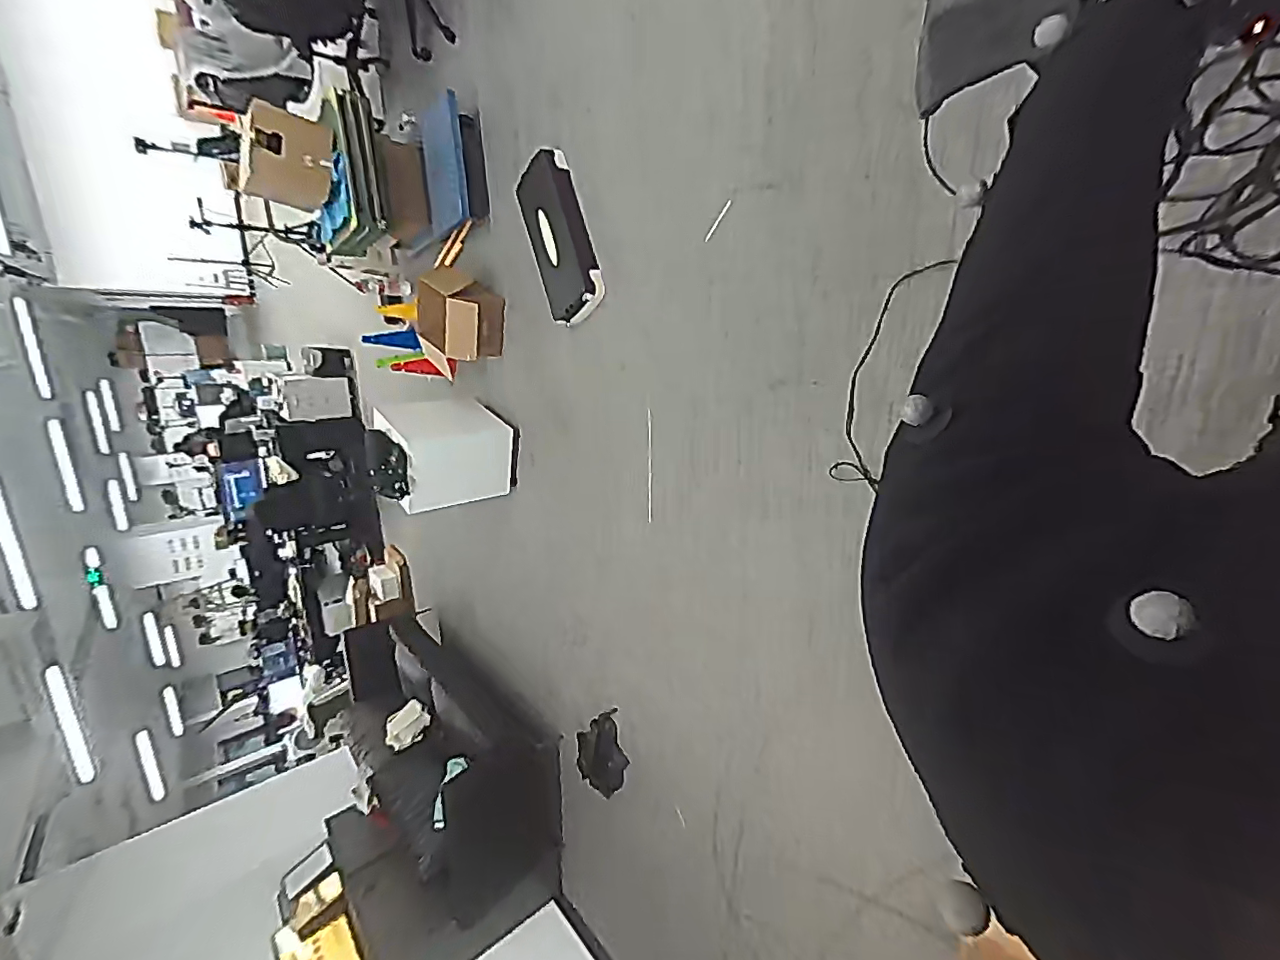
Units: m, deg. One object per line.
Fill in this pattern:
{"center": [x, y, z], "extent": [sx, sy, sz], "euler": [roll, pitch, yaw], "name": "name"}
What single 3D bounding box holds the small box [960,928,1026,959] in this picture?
{"center": [0.887, 1.277, 1.334], "extent": [0.179, 0.176, 0.168], "euler": [17, 113, 48], "name": "small box"}
